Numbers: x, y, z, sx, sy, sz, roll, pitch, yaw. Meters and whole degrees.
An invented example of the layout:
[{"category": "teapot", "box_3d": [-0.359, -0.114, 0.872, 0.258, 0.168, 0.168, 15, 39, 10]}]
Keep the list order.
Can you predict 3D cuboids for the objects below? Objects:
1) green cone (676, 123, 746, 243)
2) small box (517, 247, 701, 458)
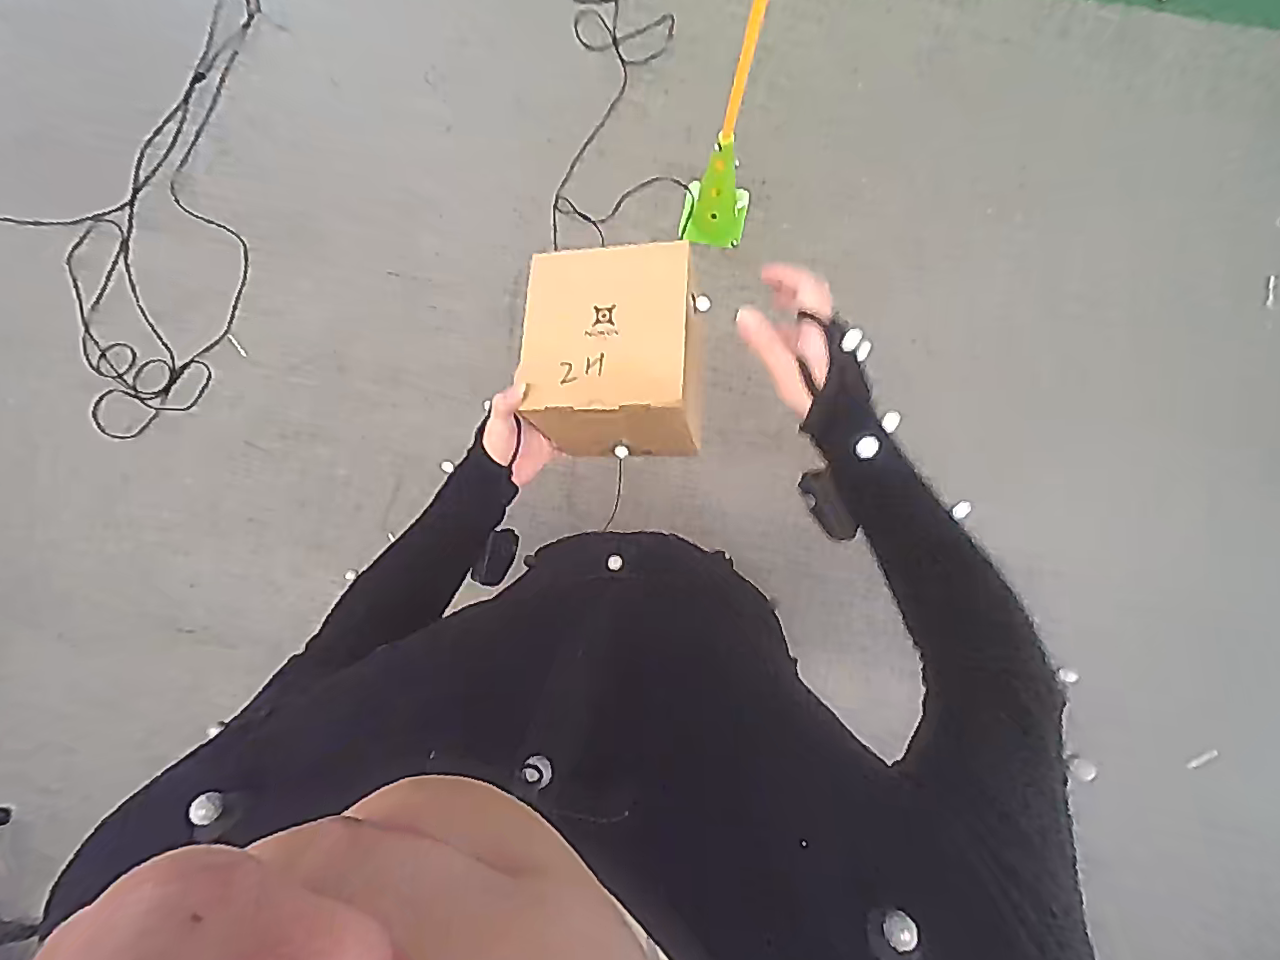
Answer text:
[{"category": "green cone", "box_3d": [0.220, -0.884, 1.565, 0.202, 0.368, 0.200, 11, 85, 4]}, {"category": "small box", "box_3d": [-0.022, -0.133, 0.613, 0.168, 0.176, 0.179, 1, 77, 12]}]
